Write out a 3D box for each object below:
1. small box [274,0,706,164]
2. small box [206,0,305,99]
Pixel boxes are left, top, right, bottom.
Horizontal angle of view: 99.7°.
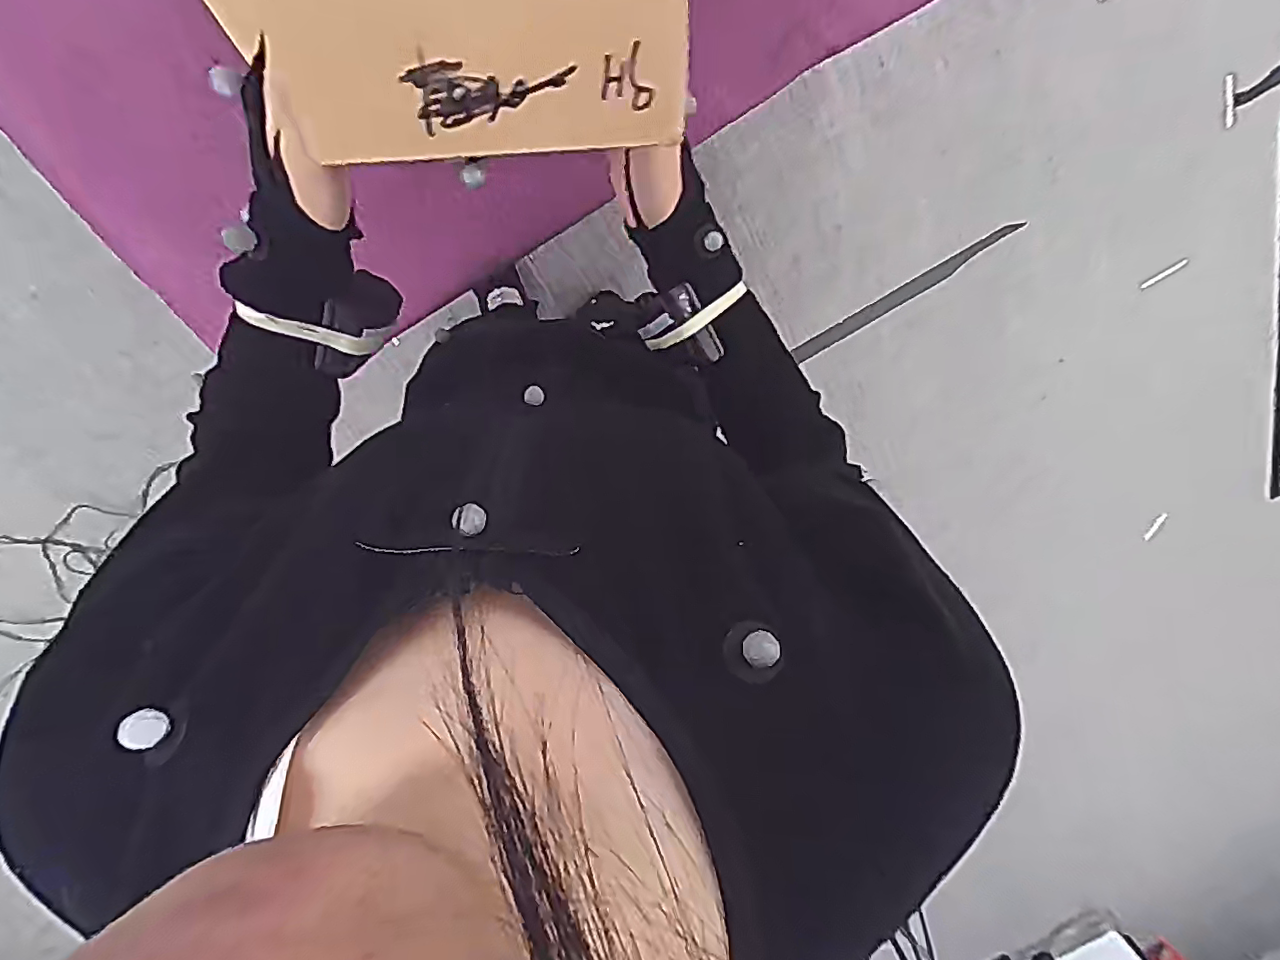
[{"bbox_3d":[-0.075,-0.254,0.253,0.168,0.176,0.179,-11,125,-13],"label":"small box"},{"bbox_3d":[-0.272,-0.441,0.447,0.168,0.176,0.179,-29,117,2],"label":"small box"}]
